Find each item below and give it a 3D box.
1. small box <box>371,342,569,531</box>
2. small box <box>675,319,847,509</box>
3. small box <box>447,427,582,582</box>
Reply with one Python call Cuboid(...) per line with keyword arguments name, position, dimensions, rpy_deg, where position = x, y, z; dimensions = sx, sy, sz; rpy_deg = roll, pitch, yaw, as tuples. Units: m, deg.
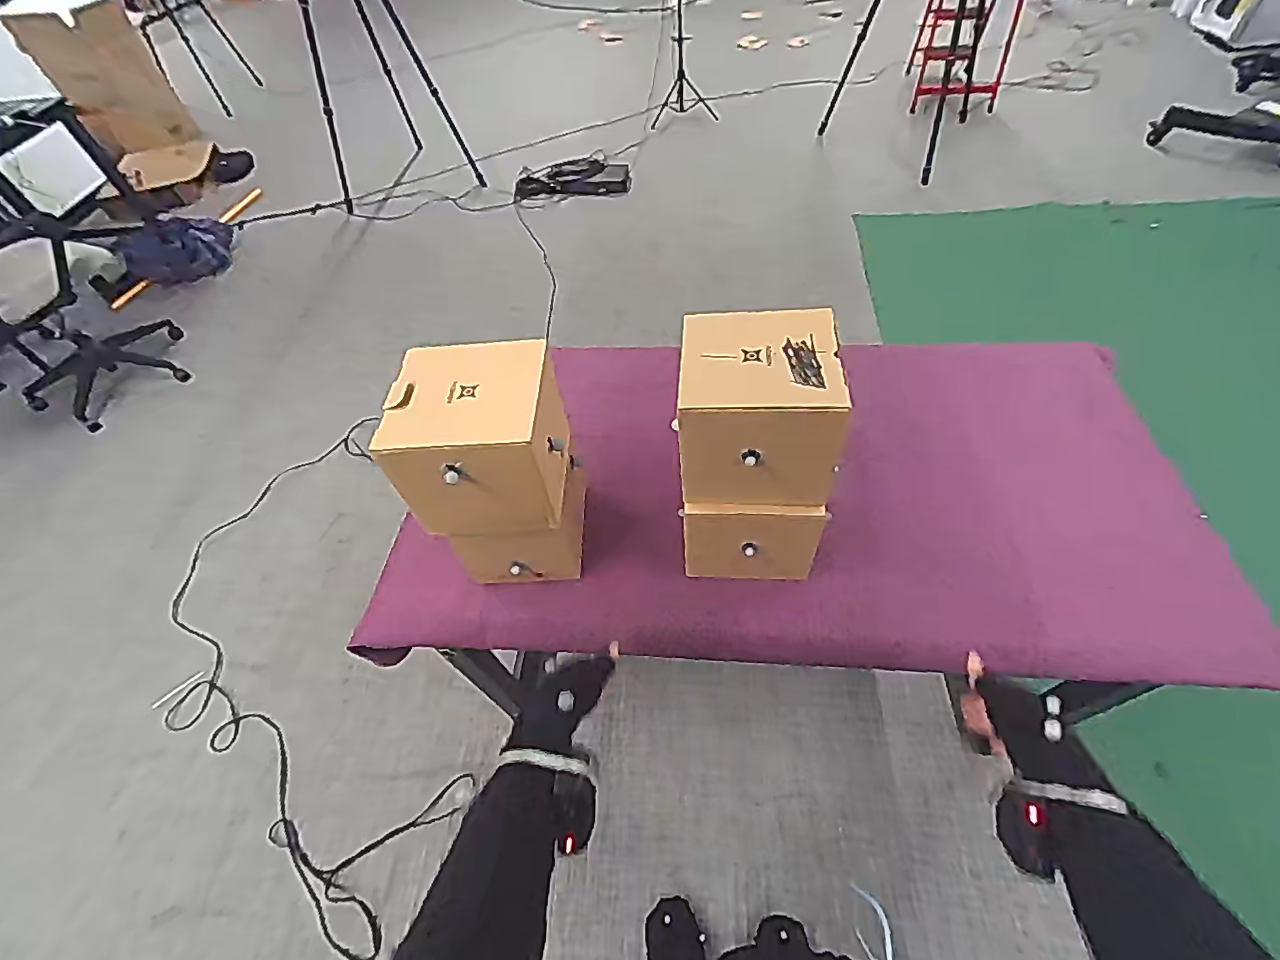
Cuboid(name="small box", position=(-0.190, -0.048, 0.671), dimensions=(0.179, 0.176, 0.168), rpy_deg=(-3, 53, 4))
Cuboid(name="small box", position=(0.139, -0.077, 0.663), dimensions=(0.179, 0.176, 0.168), rpy_deg=(1, 52, 9))
Cuboid(name="small box", position=(-0.182, 0.037, 0.812), dimensions=(0.168, 0.176, 0.179), rpy_deg=(-2, 53, 3))
